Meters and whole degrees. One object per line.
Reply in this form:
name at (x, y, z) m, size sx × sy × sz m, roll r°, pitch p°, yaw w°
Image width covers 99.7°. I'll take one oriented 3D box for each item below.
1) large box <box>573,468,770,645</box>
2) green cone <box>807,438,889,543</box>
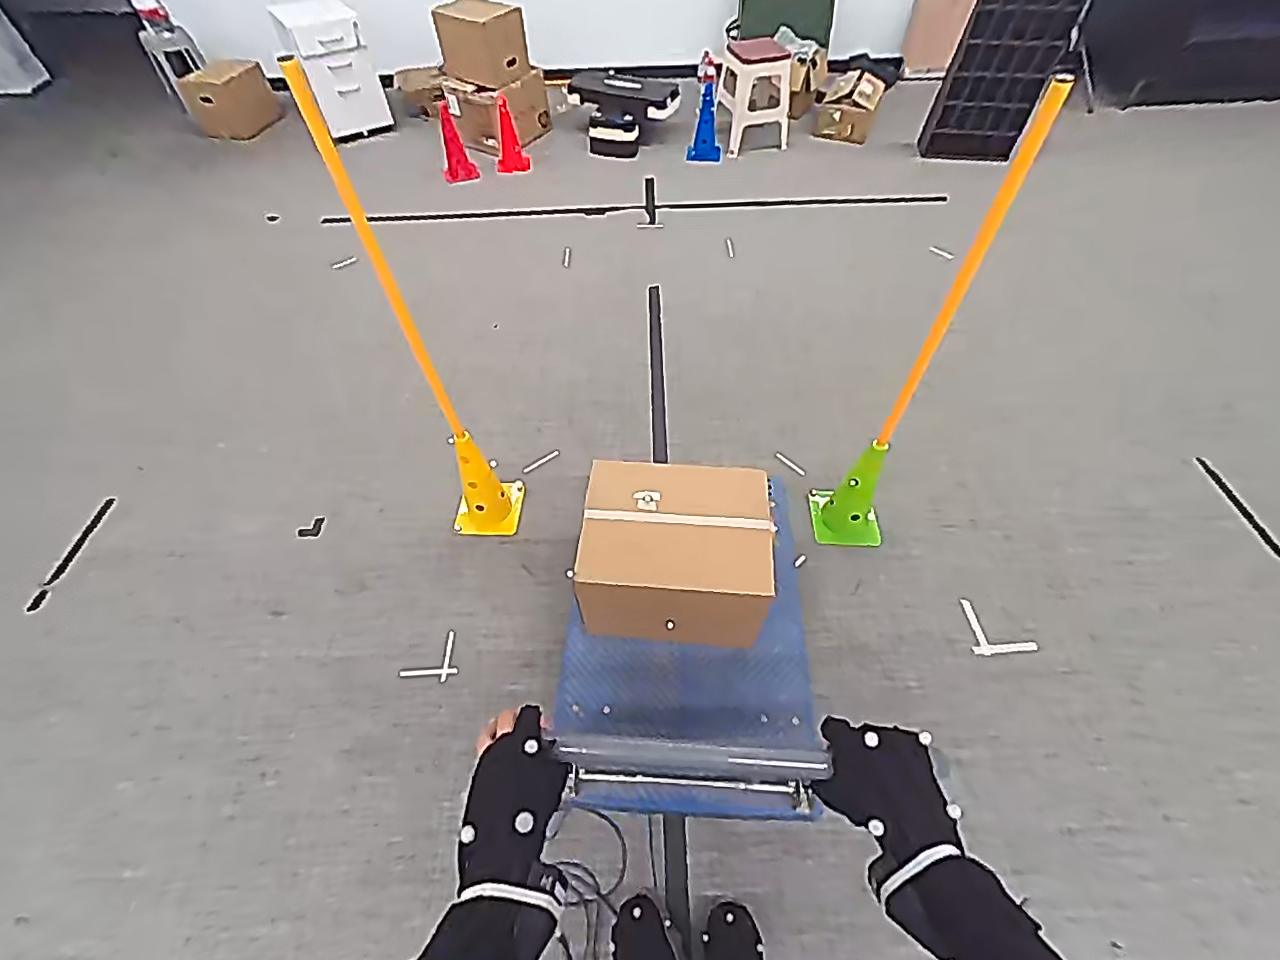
large box at (0.078, 0.188, 1.293) m, size 0.408 × 0.320 × 0.320 m, roll 3°, pitch 54°, yaw 5°
green cone at (0.642, 0.011, 1.586) m, size 0.202 × 0.368 × 0.200 m, roll 2°, pitch 54°, yaw 2°
